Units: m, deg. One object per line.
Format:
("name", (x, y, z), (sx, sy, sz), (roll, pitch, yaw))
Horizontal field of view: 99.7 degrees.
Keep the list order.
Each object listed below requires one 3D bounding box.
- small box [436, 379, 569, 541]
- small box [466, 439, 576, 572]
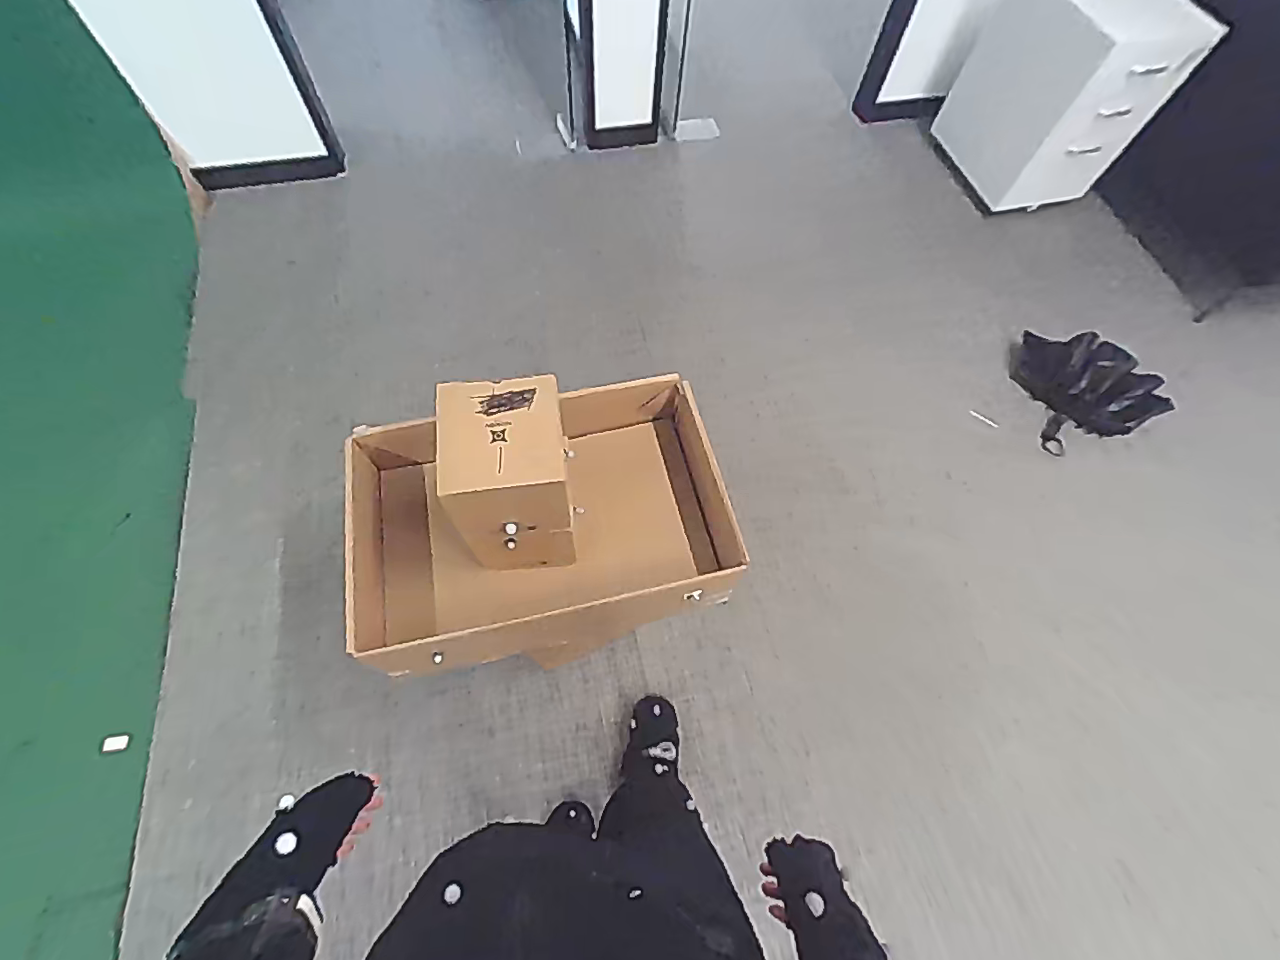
("small box", (-0.196, -0.026, 0.804), (0.168, 0.176, 0.179), (-6, 64, -7))
("small box", (-0.201, 0.048, 0.950), (0.168, 0.176, 0.179), (-4, 63, -5))
